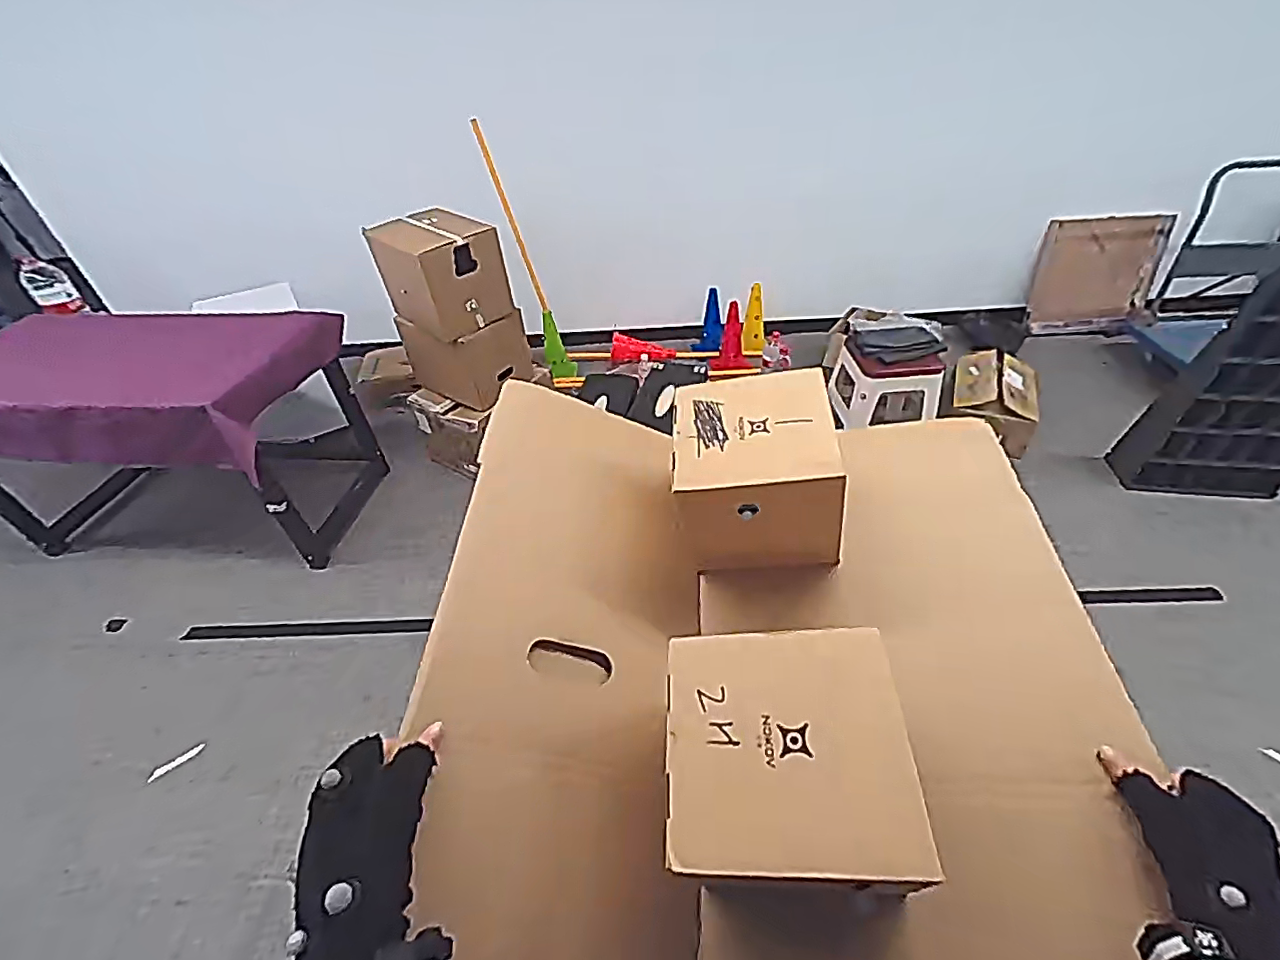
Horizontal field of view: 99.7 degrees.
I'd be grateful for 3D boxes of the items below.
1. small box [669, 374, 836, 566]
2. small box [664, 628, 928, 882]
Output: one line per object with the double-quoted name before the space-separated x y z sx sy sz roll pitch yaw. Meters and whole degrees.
"small box" 0.140 -0.005 0.670 0.179 0.176 0.168 -6 50 13
"small box" 0.124 0.242 0.472 0.179 0.176 0.168 -7 50 13
